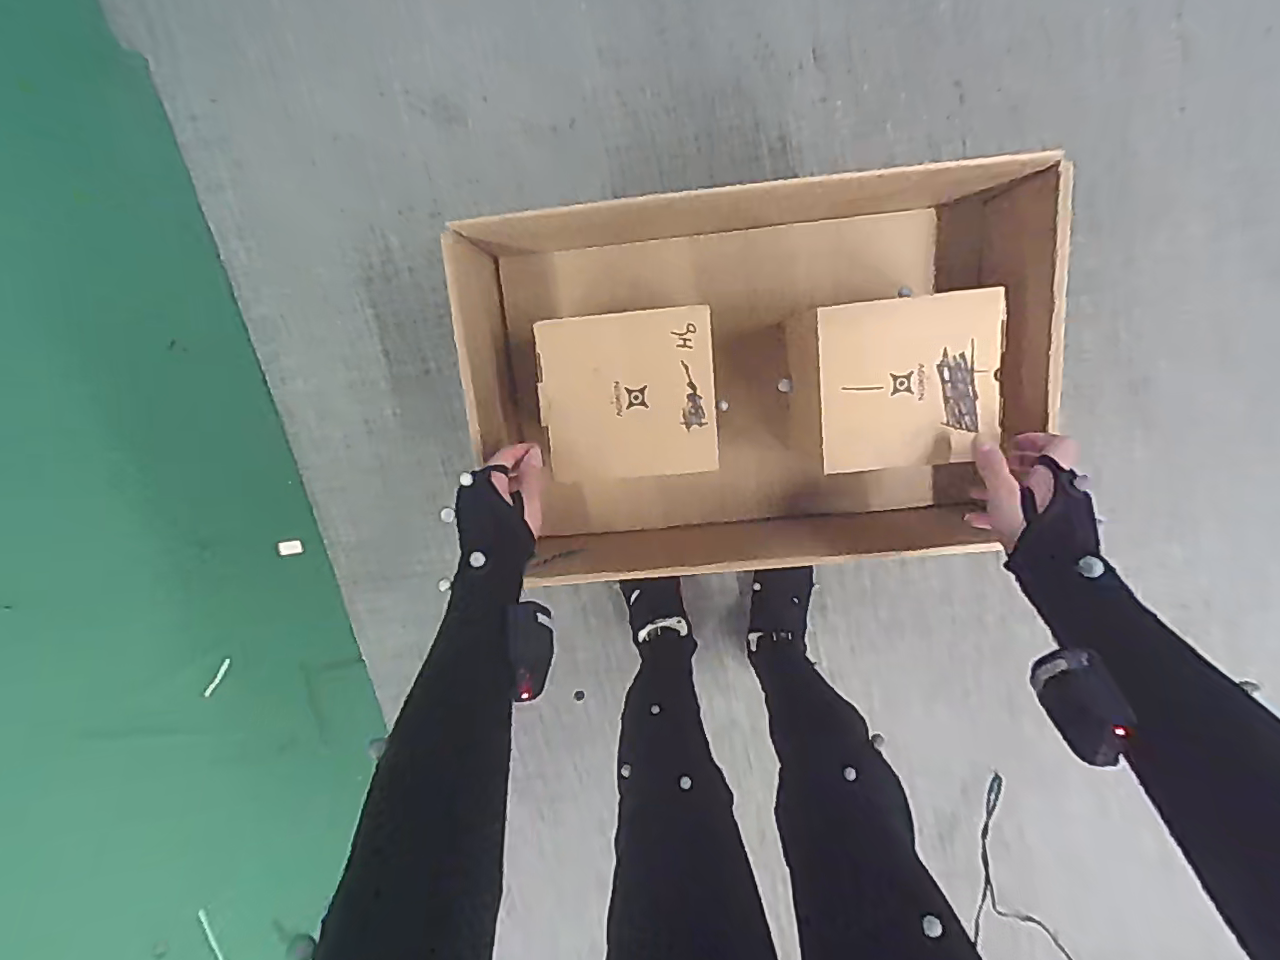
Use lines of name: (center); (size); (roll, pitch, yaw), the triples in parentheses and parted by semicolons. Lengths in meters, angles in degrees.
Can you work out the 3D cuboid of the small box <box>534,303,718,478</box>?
small box: (-0.007, -0.099, 0.609); (0.179, 0.176, 0.168); (-3, 101, 4)
